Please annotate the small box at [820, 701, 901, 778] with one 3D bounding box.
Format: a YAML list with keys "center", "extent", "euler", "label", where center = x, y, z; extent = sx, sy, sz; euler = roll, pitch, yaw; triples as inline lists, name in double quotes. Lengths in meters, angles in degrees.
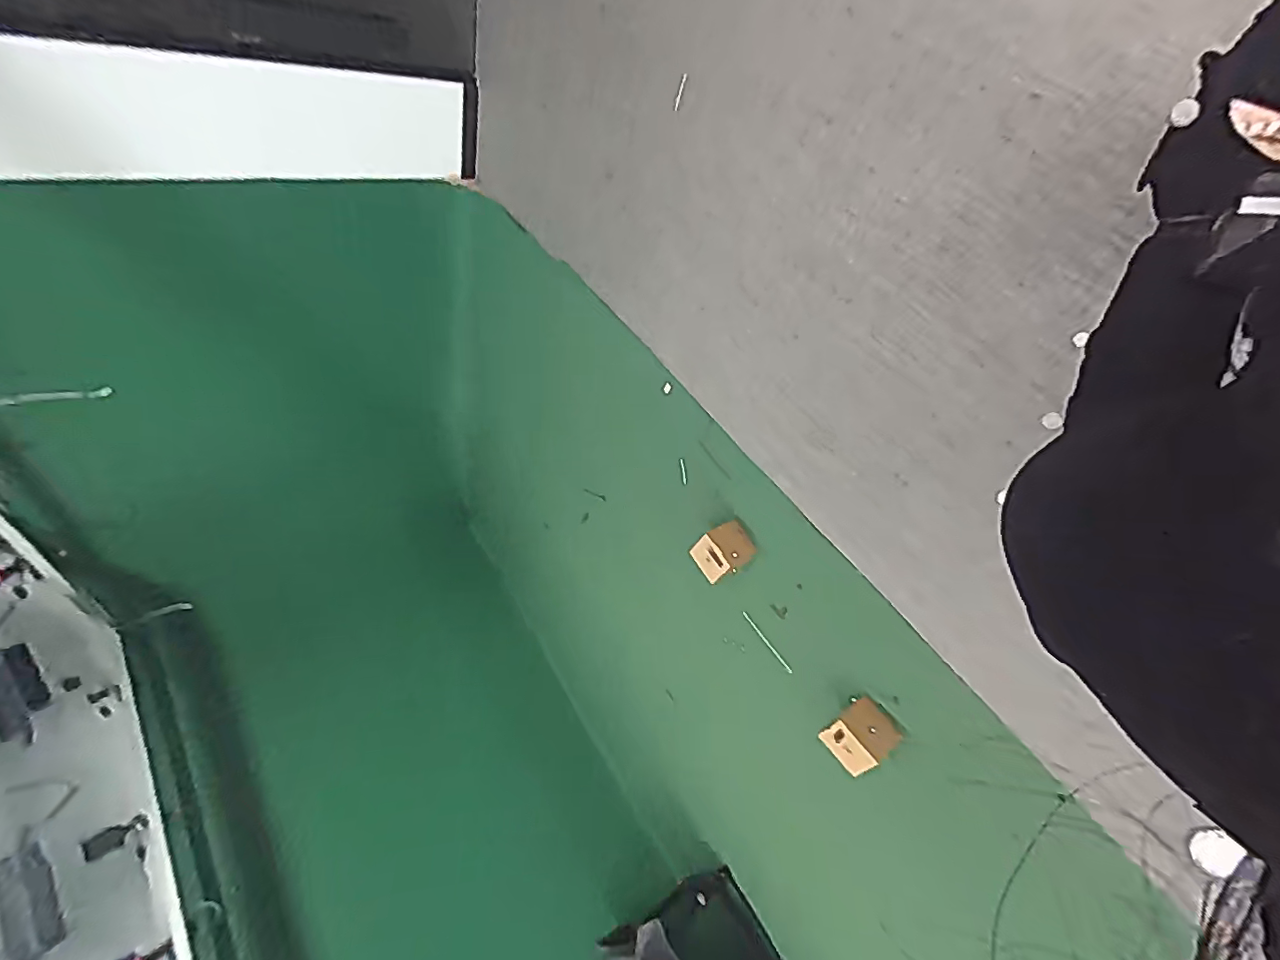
- center: [0.798, 0.931, 1.958]
  extent: [0.179, 0.176, 0.168]
  euler: [48, 141, 25]
  label: "small box"
